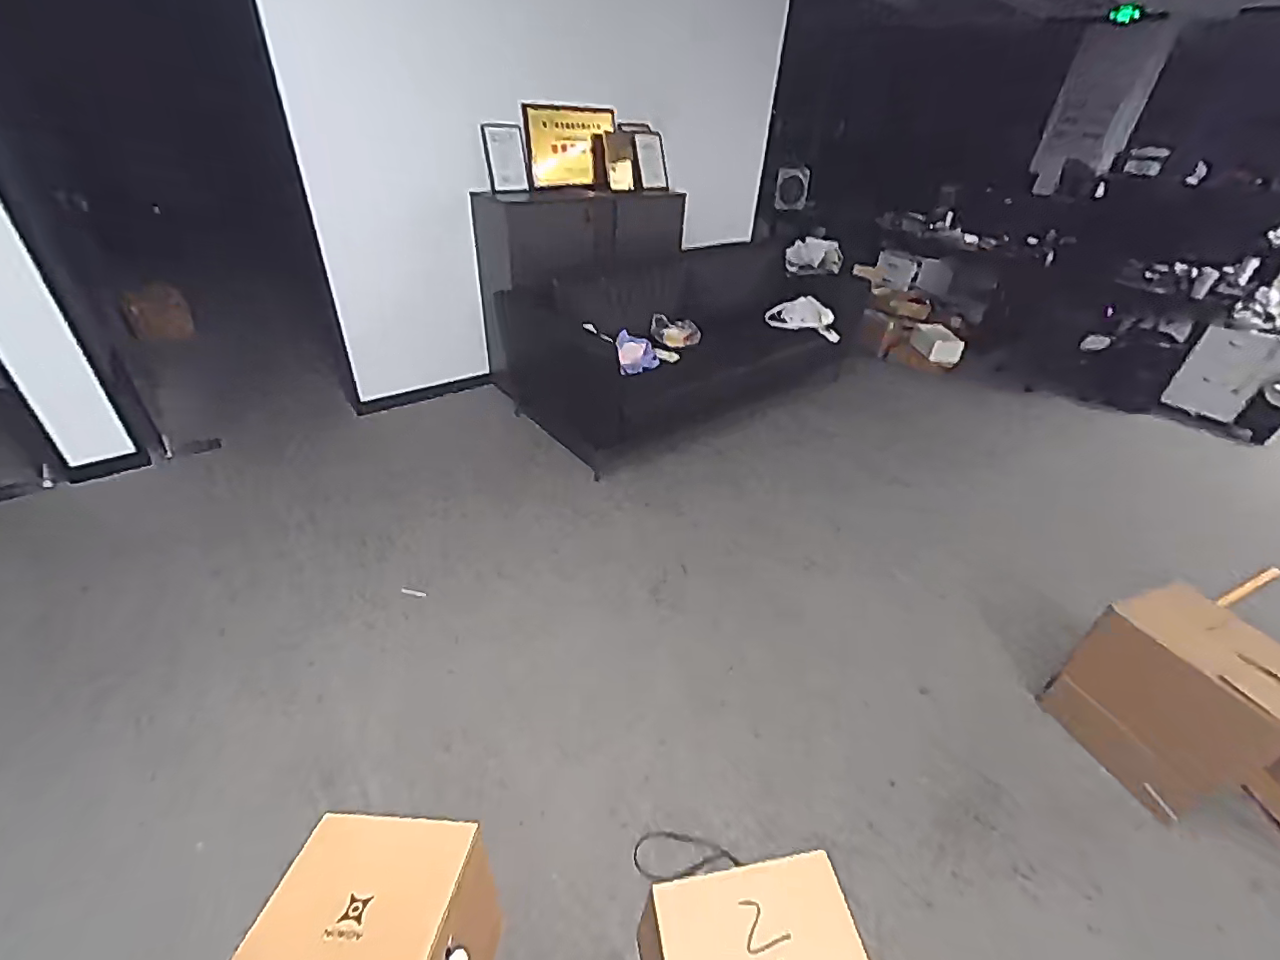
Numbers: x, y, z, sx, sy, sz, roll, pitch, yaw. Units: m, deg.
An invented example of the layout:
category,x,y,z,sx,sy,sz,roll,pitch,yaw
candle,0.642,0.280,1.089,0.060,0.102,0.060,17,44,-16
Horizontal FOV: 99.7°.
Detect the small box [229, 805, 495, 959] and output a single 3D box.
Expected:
category,x,y,z,sx,sy,sz,roll,pitch,yaw
small box,-0.244,0.446,0.503,0.168,0.176,0.179,1,24,6
